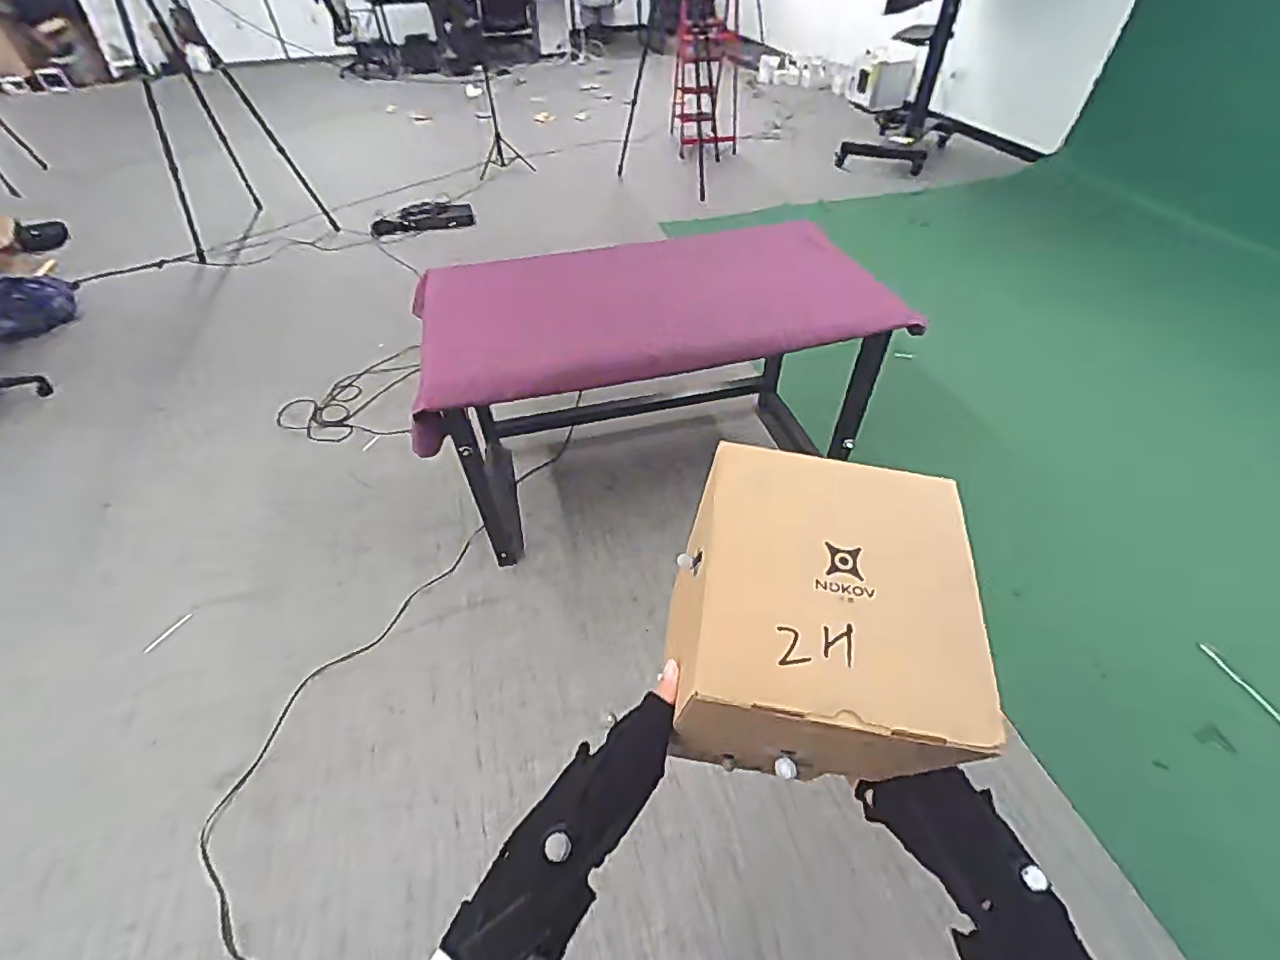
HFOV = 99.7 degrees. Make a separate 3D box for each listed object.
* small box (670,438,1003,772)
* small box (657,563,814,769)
[{"bbox_3d":[0.119,0.098,0.399,0.168,0.176,0.179,10,57,2],"label":"small box"},{"bbox_3d":[0.113,0.176,0.545,0.168,0.176,0.179,9,57,1],"label":"small box"}]
